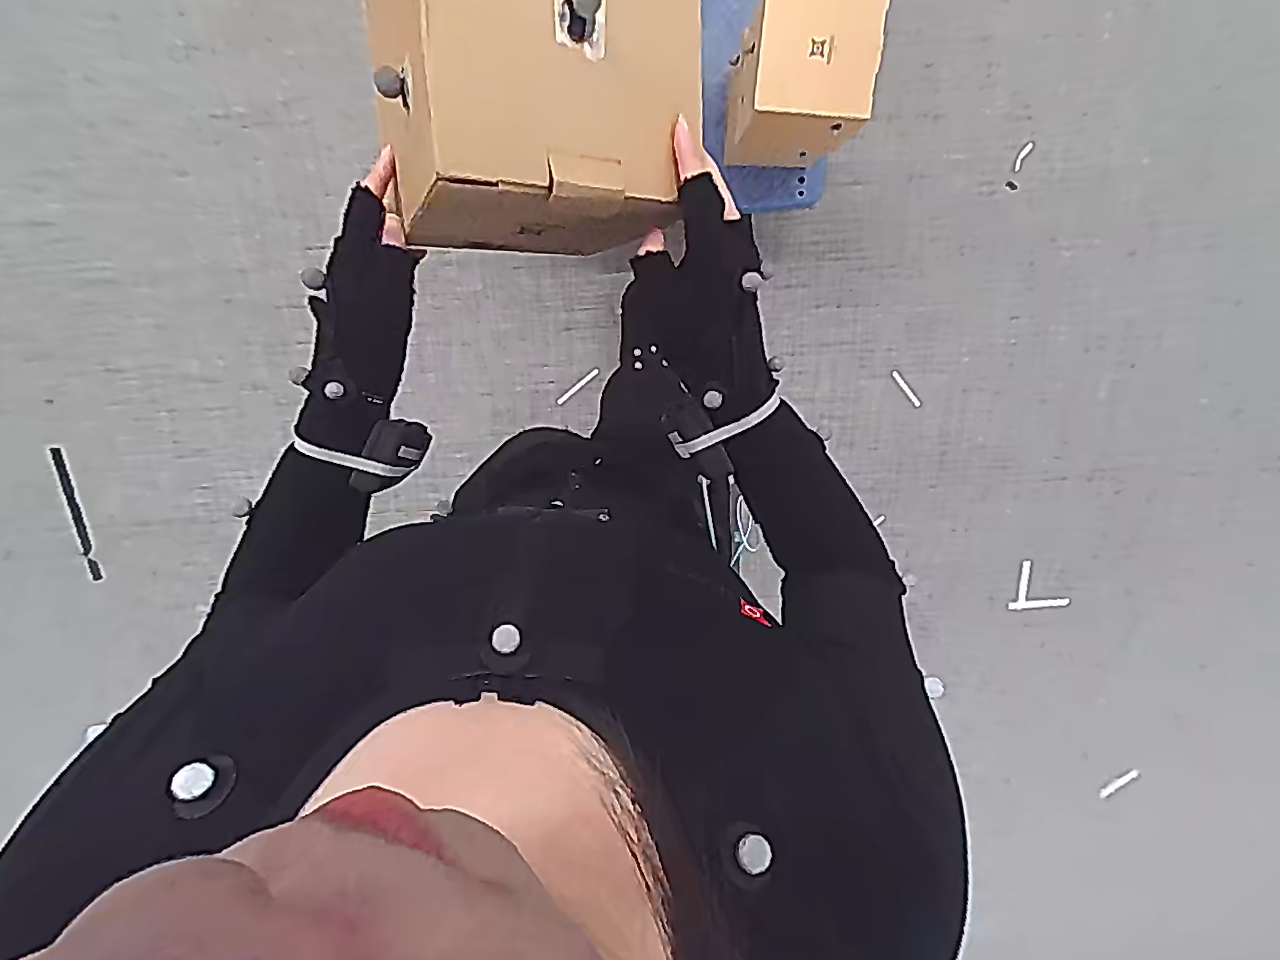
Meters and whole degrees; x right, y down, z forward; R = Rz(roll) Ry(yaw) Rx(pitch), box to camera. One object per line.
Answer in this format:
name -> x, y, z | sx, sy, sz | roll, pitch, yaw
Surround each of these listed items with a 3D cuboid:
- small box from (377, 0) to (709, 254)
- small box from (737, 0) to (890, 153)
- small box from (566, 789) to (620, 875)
small box -> -0.073, -0.261, 0.363 | 0.168, 0.179, 0.176 | -9, 104, -29
small box -> 0.255, -0.630, 0.843 | 0.179, 0.176, 0.168 | 3, 107, -2
small box -> -0.150, 1.158, 1.780 | 0.168, 0.176, 0.179 | 0, 107, 0
